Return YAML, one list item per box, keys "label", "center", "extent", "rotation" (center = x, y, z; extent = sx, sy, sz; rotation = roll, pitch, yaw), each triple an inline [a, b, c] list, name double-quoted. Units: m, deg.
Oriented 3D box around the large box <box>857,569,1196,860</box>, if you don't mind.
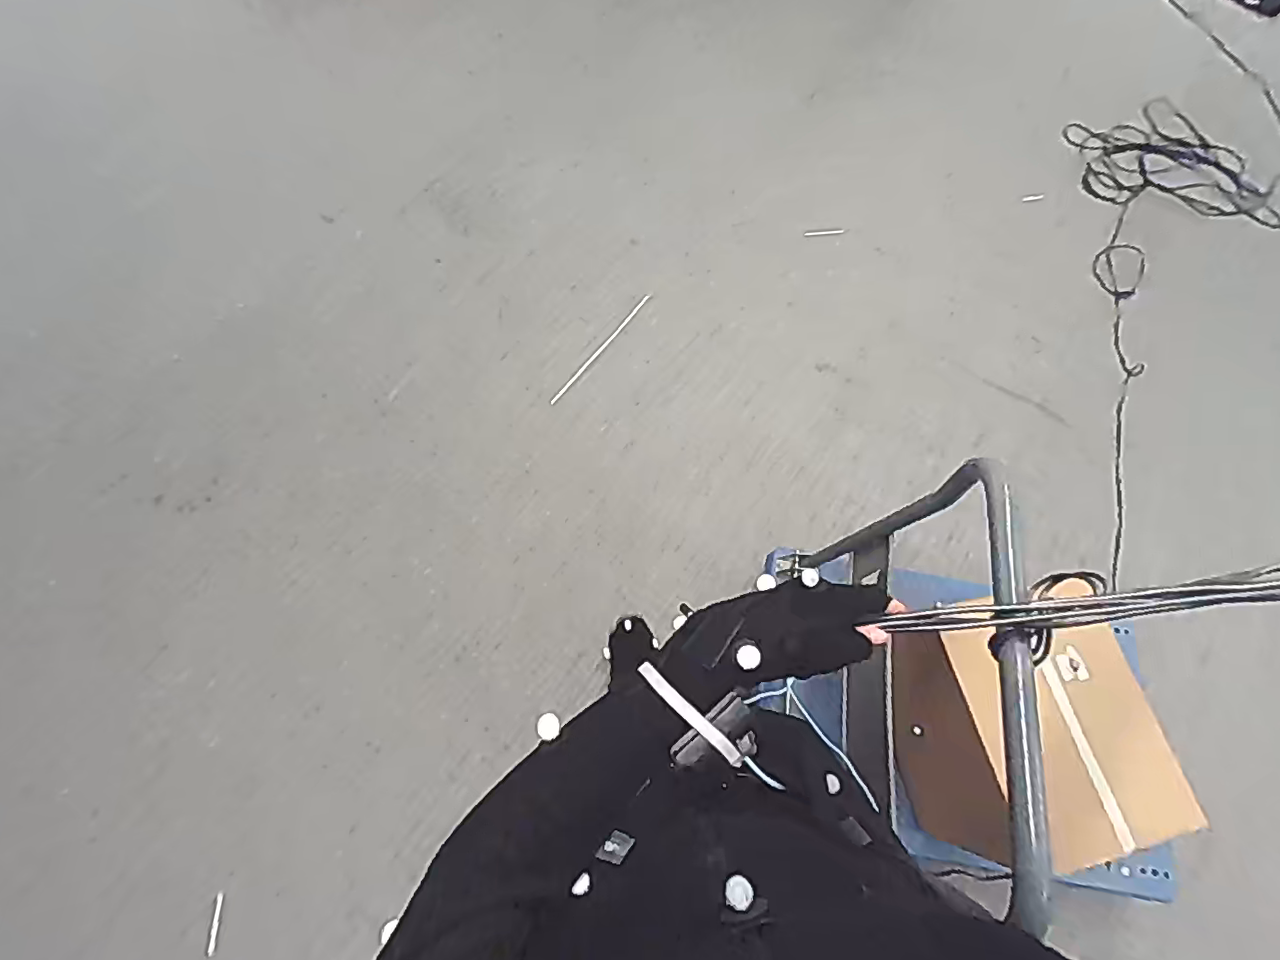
- label: "large box"
  center: [0.685, 0.426, 1.043]
  extent: [0.320, 0.320, 0.408]
  rotation: [-10, 69, -8]
